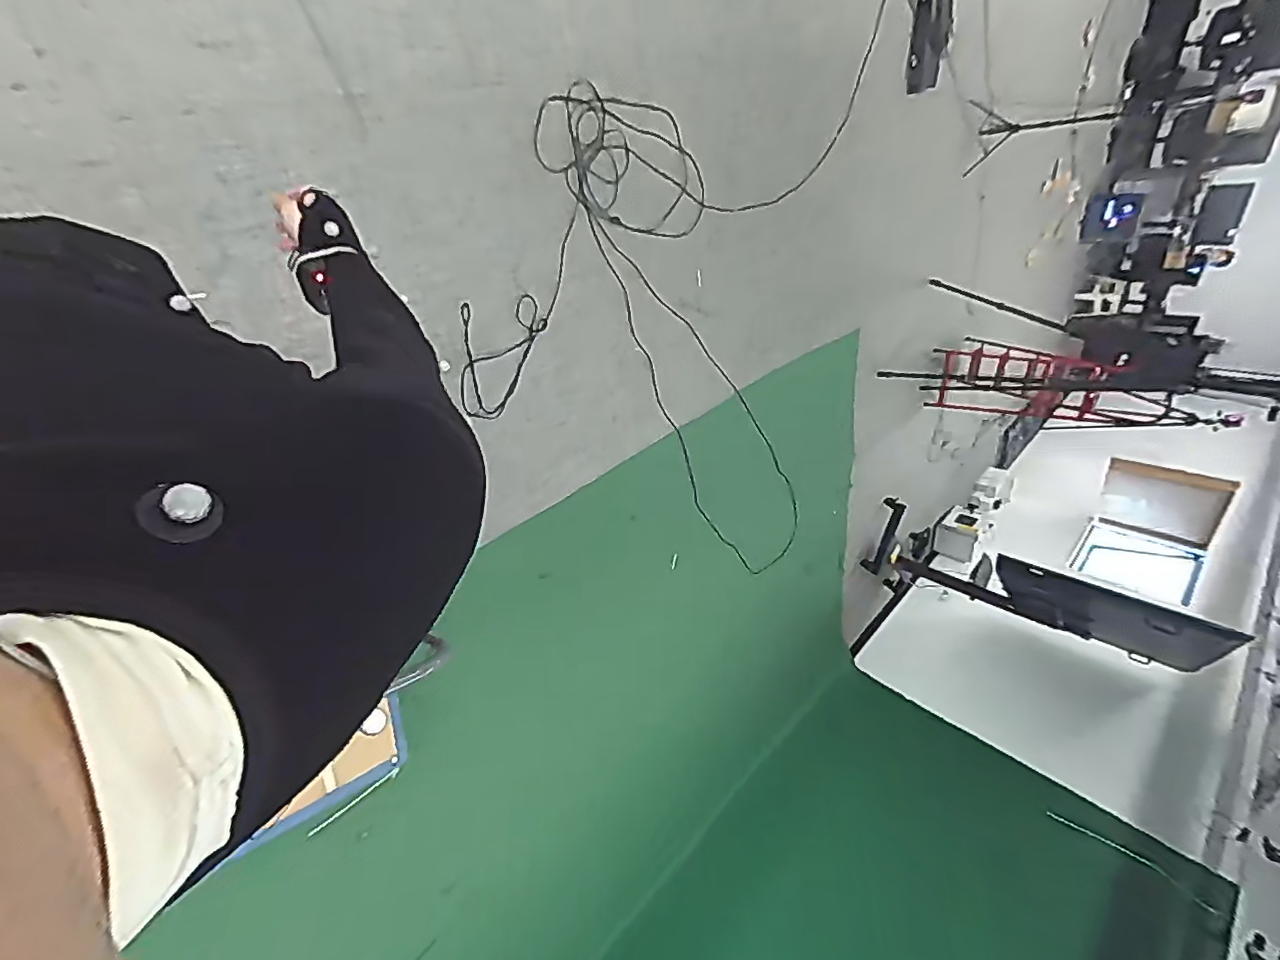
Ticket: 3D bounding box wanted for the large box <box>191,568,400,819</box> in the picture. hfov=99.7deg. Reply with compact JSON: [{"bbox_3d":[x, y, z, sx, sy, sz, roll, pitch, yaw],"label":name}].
[{"bbox_3d":[-0.826,0.491,1.315,0.320,0.320,0.408,-18,119,-39],"label":"large box"}]
